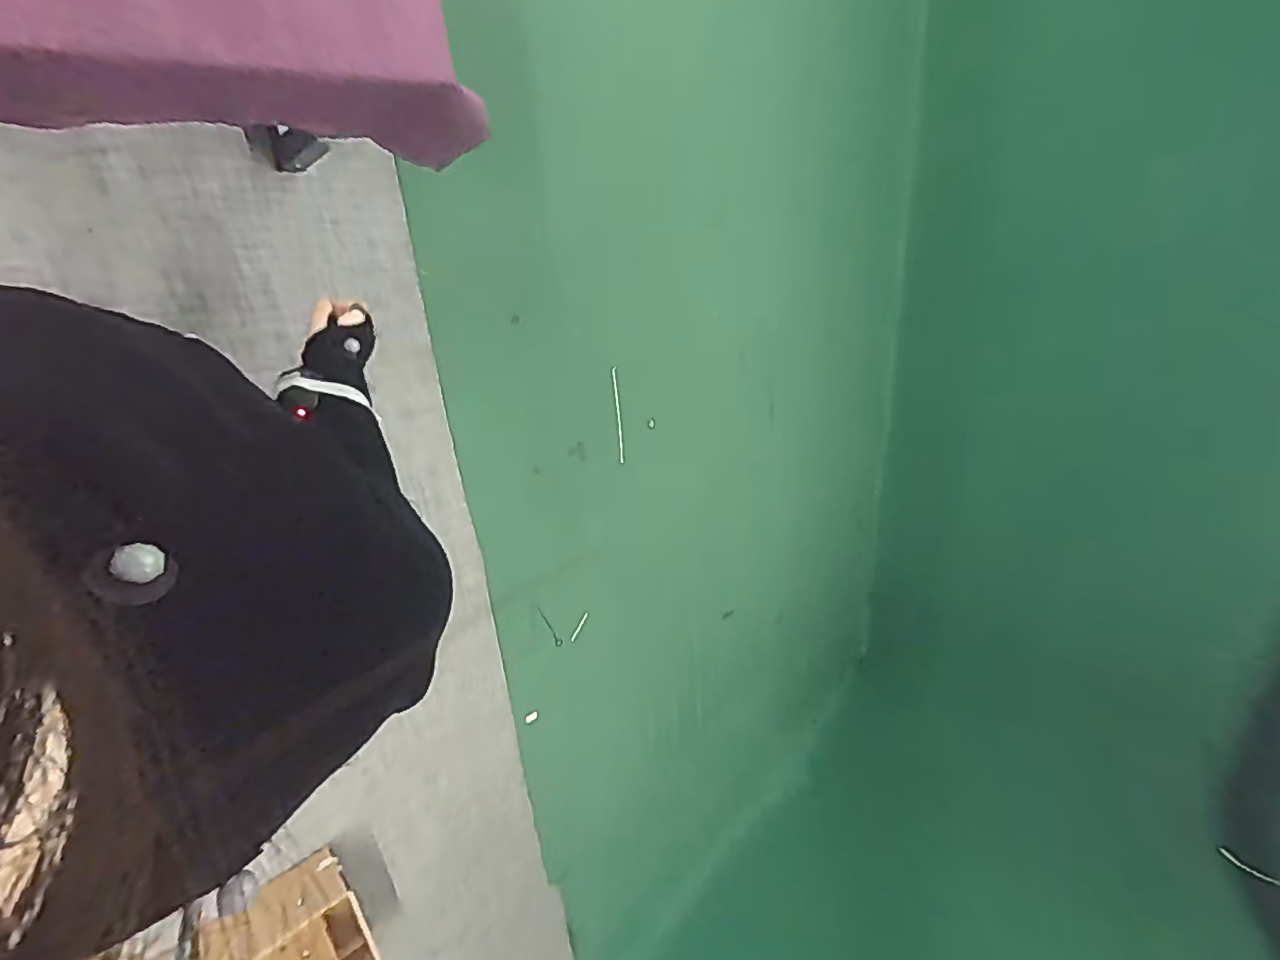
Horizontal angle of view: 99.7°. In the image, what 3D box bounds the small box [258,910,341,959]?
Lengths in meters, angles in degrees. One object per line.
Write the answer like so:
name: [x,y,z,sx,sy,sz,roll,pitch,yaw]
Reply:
small box: [-0.946,1.366,1.515,0.168,0.176,0.179,-18,115,-40]
